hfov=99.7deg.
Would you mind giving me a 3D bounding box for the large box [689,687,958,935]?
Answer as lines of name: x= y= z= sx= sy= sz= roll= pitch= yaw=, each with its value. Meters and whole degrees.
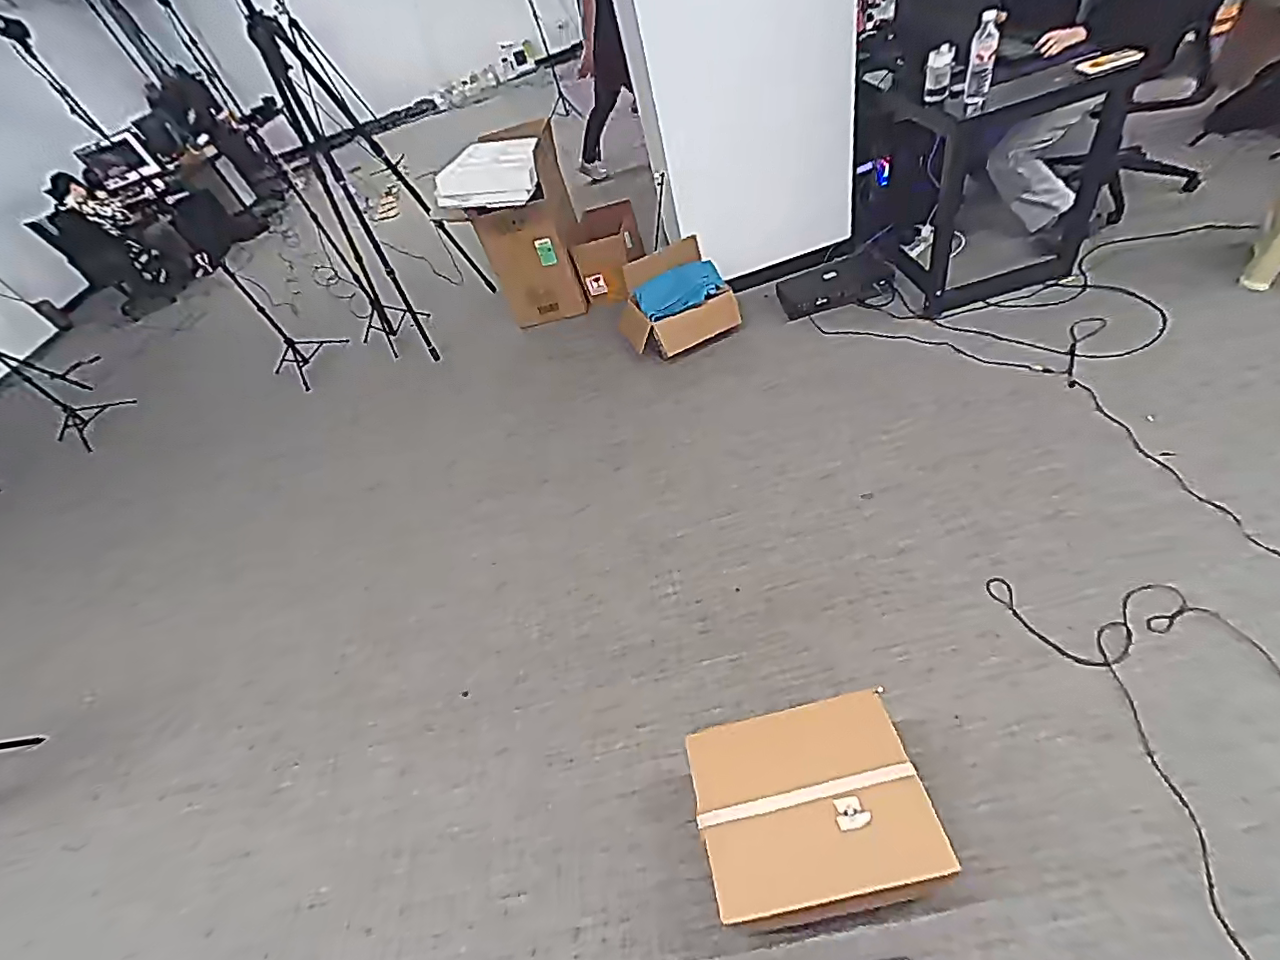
large box: x=0.350 y=0.683 z=1.110 sx=0.408 sy=0.320 sz=0.320 roll=-17 pitch=46 yaw=4
